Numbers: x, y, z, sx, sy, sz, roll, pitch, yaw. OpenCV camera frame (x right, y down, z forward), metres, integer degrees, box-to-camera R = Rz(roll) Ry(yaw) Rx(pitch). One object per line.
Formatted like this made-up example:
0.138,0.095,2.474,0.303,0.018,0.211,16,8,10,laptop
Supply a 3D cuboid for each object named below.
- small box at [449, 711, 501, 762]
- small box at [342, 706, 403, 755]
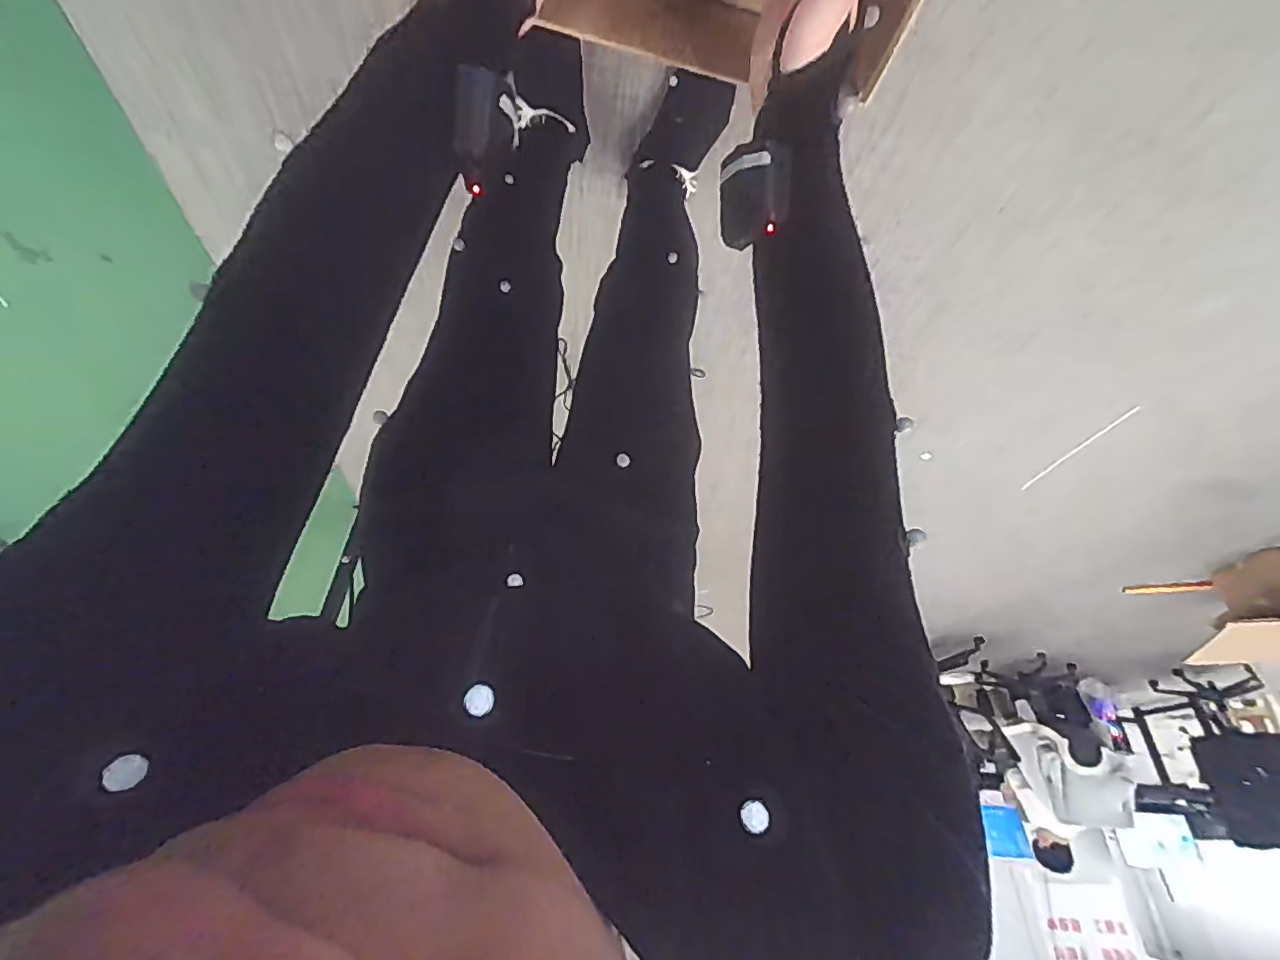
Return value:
-0.688,1.083,2.275,0.168,0.176,0.179,5,146,-4,small box
-1.092,1.027,2.224,0.168,0.176,0.179,7,147,-7,small box
